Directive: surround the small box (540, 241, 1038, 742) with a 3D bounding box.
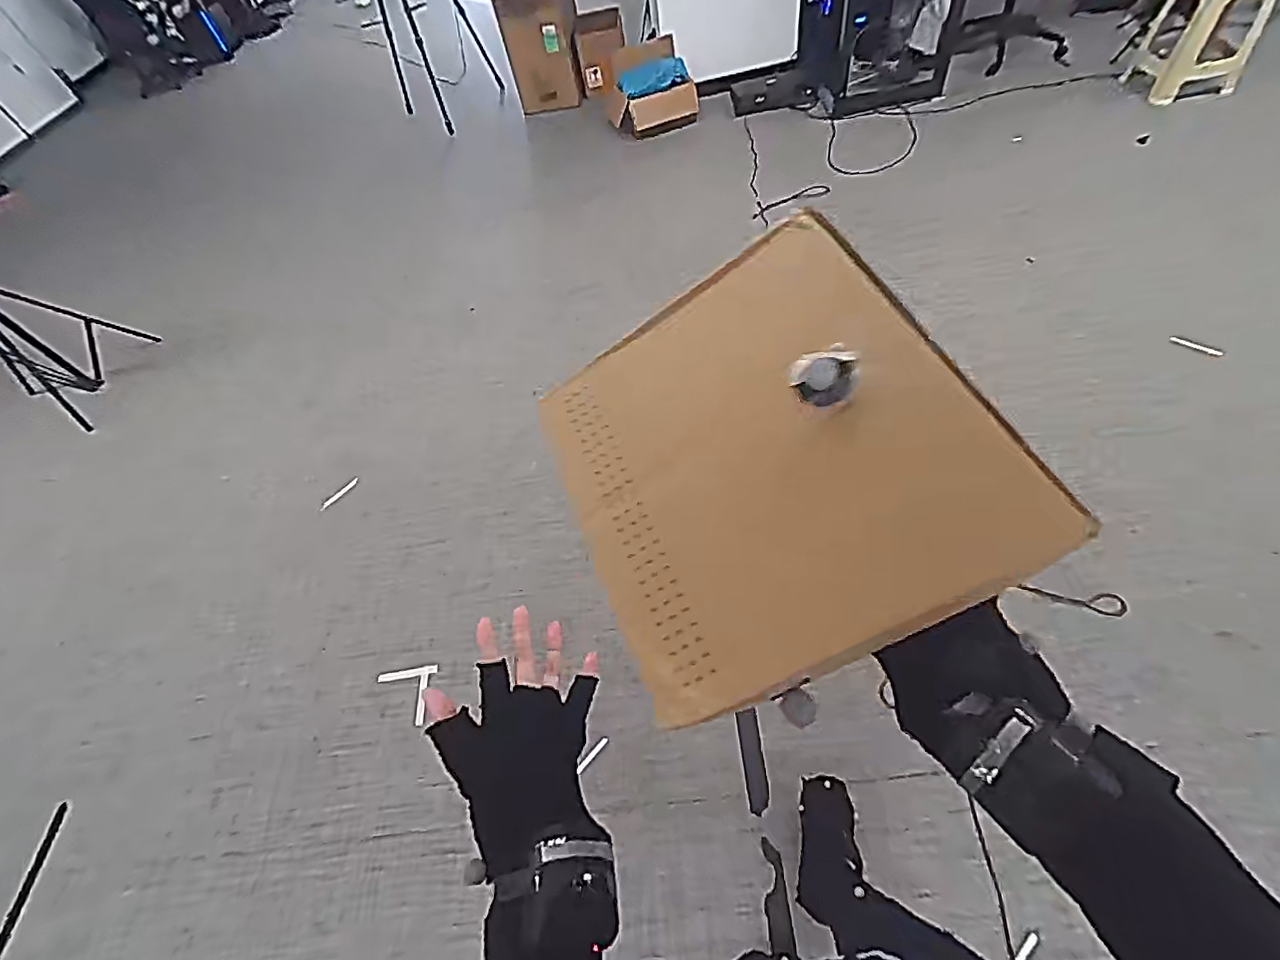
[{"bbox_3d":[0.070,0.017,0.306,0.176,0.168,0.179,-34,62,17],"label":"small box"}]
